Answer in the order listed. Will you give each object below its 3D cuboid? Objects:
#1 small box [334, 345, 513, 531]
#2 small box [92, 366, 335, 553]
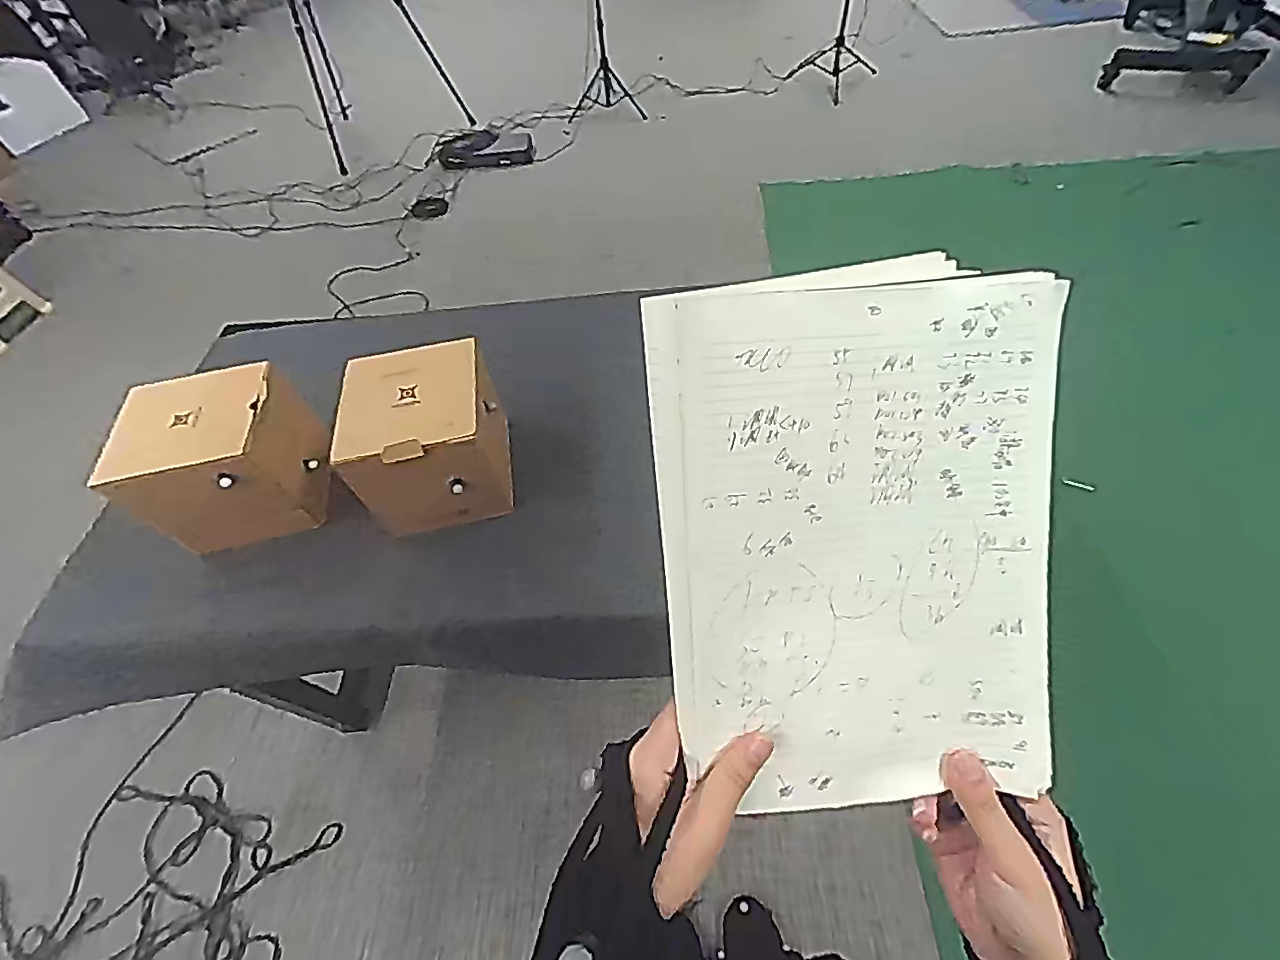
[{"bbox_3d":[-0.271,-0.047,0.717,0.168,0.176,0.179,-11,53,-4],"label":"small box"},{"bbox_3d":[-0.543,-0.022,0.724,0.179,0.176,0.168,-12,53,-5],"label":"small box"}]
